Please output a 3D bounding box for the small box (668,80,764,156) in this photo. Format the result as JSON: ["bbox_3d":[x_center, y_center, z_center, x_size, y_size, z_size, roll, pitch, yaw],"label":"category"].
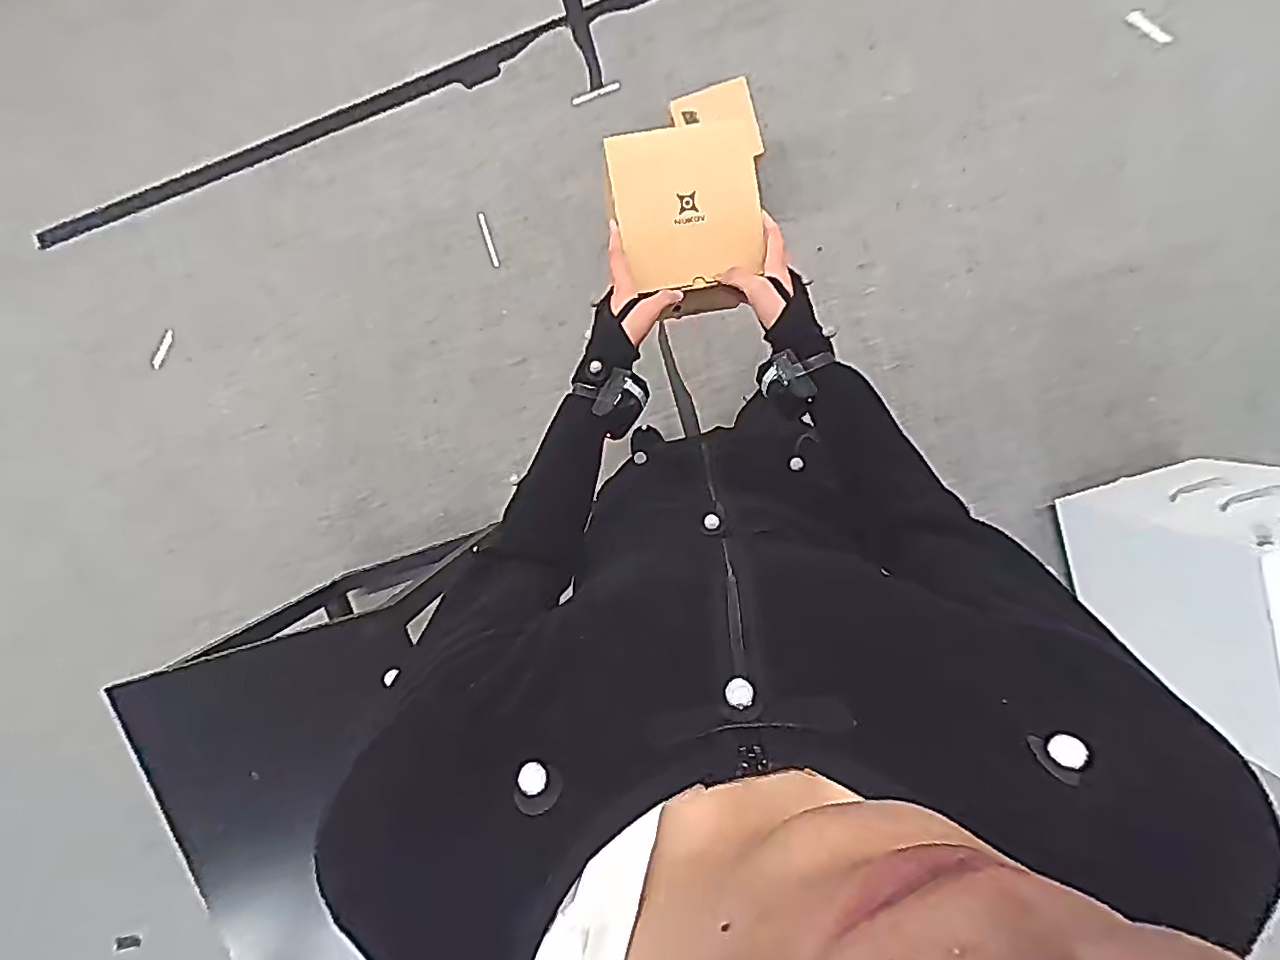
[{"bbox_3d":[0.171,-0.770,1.257,0.179,0.176,0.168,-17,97,5],"label":"small box"}]

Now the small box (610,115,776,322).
[{"bbox_3d":[0.056,-0.311,0.677,0.168,0.176,0.179,-10,97,-2],"label":"small box"}]
